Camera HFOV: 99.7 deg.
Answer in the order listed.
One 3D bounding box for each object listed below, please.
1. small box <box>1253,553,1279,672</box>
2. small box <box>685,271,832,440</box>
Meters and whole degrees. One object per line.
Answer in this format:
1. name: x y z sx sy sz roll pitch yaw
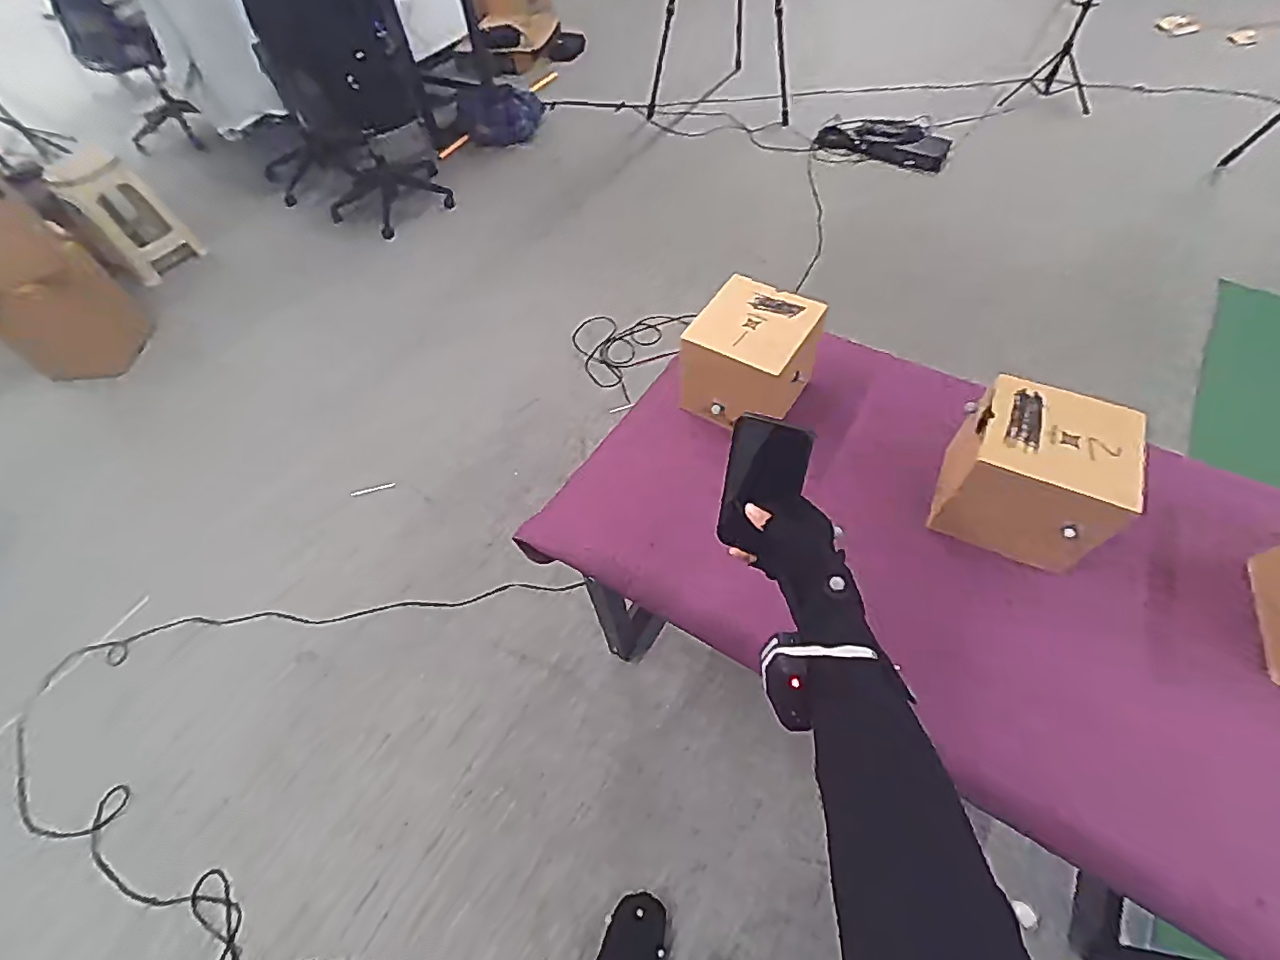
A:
1. small box: 0.855 0.160 0.597 0.168 0.176 0.179 18 58 16
2. small box: 0.184 -0.201 0.885 0.168 0.176 0.179 29 64 21
